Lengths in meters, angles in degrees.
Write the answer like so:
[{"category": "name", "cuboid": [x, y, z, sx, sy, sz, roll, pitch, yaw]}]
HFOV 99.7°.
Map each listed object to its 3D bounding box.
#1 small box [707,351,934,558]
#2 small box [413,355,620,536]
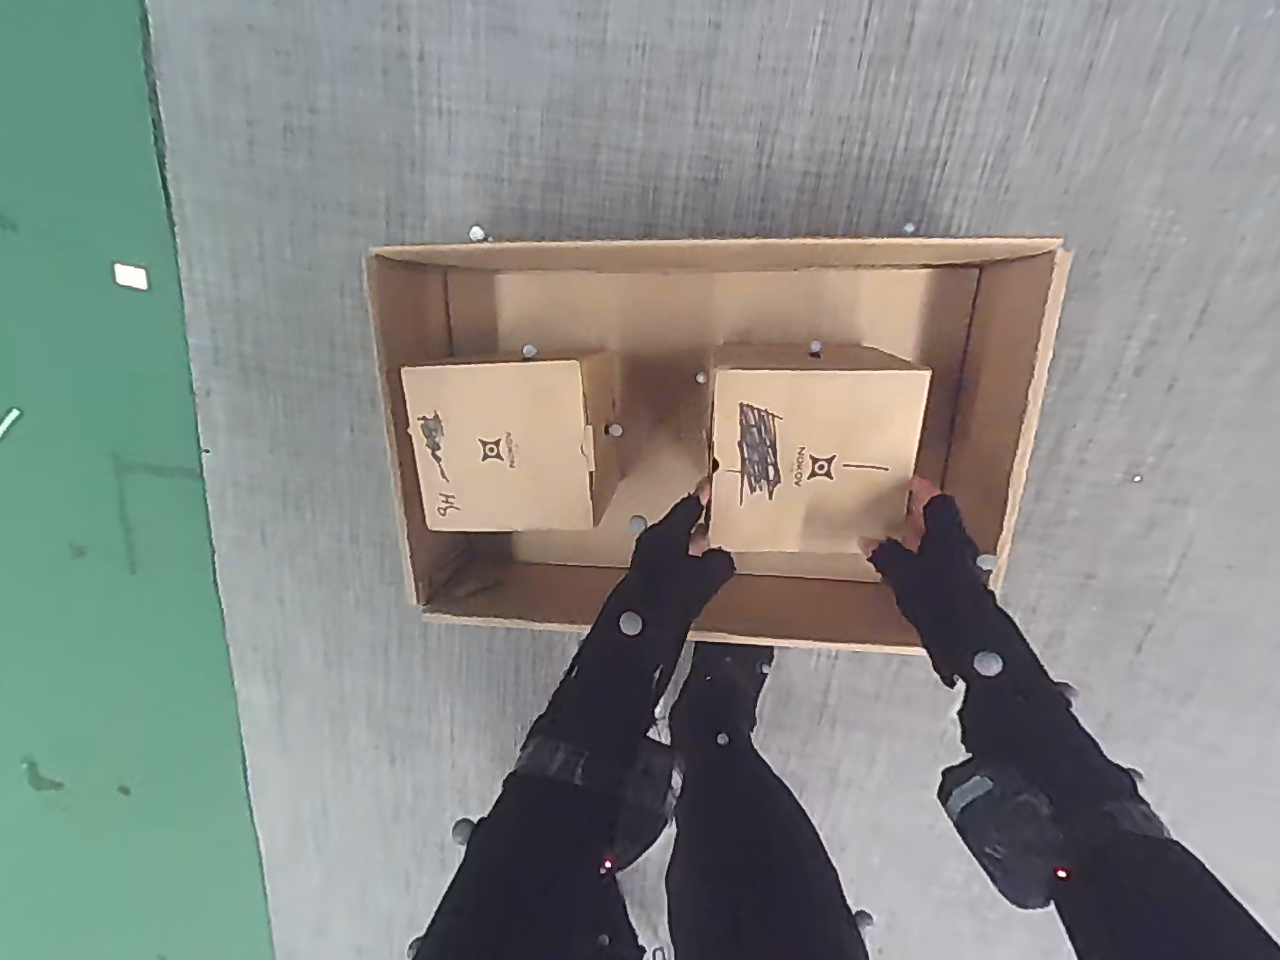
[{"category": "small box", "cuboid": [0.161, -0.037, 0.547, 0.179, 0.176, 0.168, 3, 110, 7]}, {"category": "small box", "cuboid": [-0.116, -0.046, 0.593, 0.179, 0.176, 0.168, -1, 106, 6]}]
